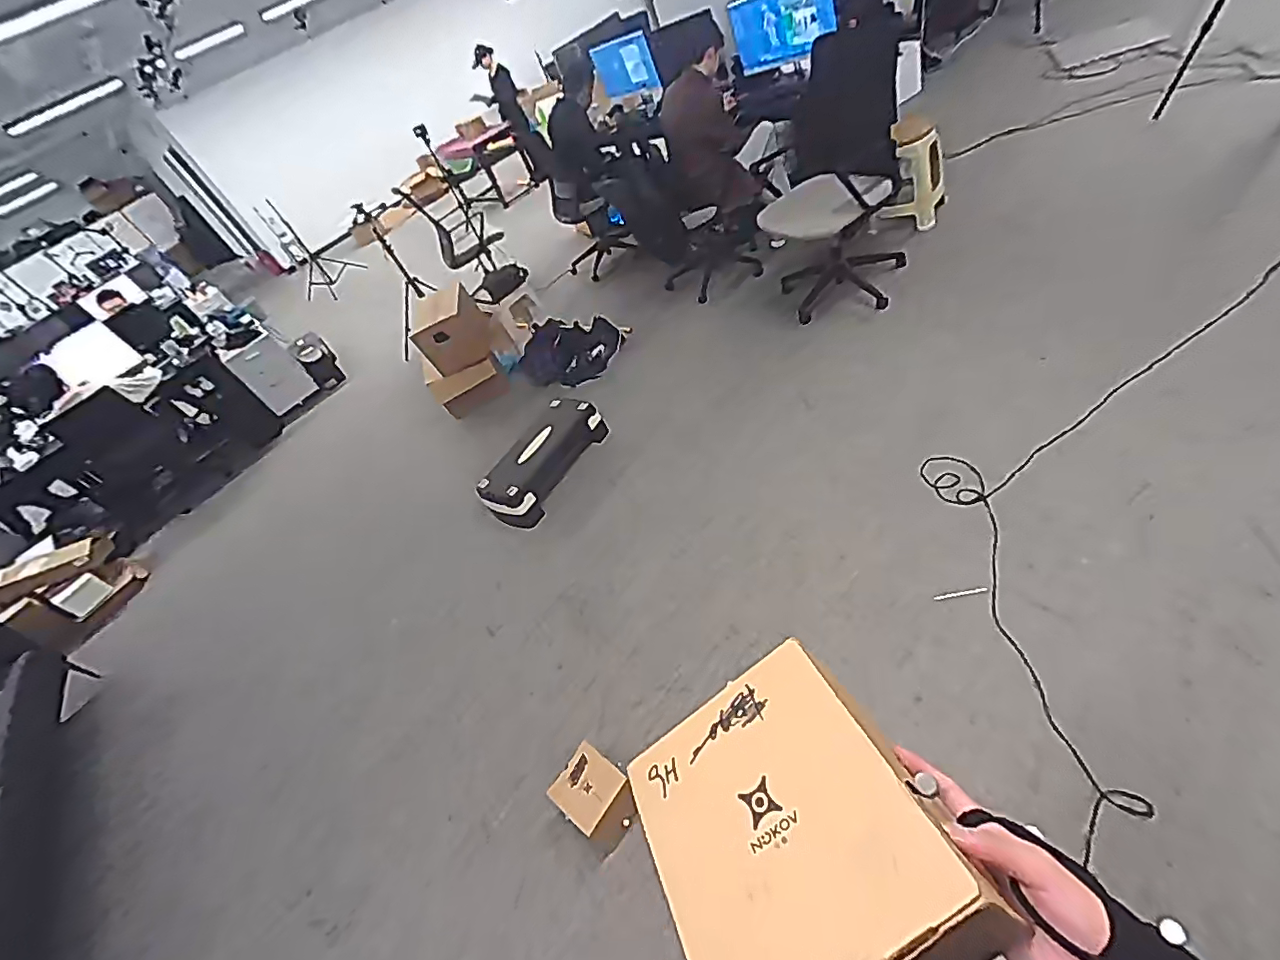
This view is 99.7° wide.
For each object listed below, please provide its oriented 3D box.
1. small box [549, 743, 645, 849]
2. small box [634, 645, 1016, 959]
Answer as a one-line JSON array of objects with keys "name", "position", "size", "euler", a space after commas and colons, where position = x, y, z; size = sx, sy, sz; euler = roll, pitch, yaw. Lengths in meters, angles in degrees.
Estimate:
[{"name": "small box", "position": [-0.108, 0.867, 1.478], "size": [0.179, 0.176, 0.168], "euler": [20, 60, 40]}, {"name": "small box", "position": [0.129, 0.261, 0.391], "size": [0.168, 0.176, 0.179], "euler": [-40, 37, 5]}]
